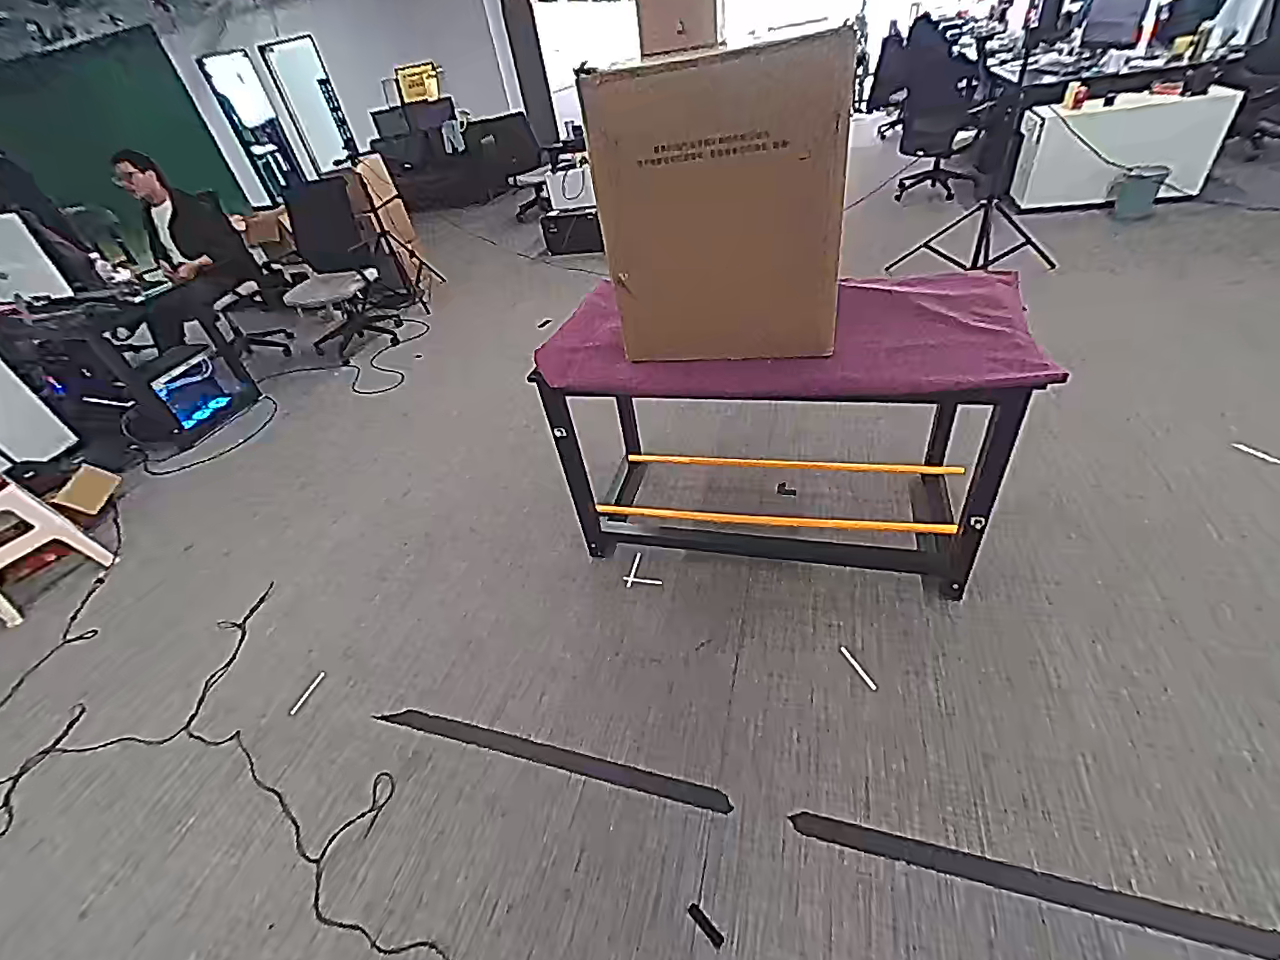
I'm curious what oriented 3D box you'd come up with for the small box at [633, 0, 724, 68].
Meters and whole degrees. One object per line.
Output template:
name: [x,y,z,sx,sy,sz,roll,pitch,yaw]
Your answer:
small box: [0.088,-1.027,1.188,0.179,0.176,0.168,3,41,17]
